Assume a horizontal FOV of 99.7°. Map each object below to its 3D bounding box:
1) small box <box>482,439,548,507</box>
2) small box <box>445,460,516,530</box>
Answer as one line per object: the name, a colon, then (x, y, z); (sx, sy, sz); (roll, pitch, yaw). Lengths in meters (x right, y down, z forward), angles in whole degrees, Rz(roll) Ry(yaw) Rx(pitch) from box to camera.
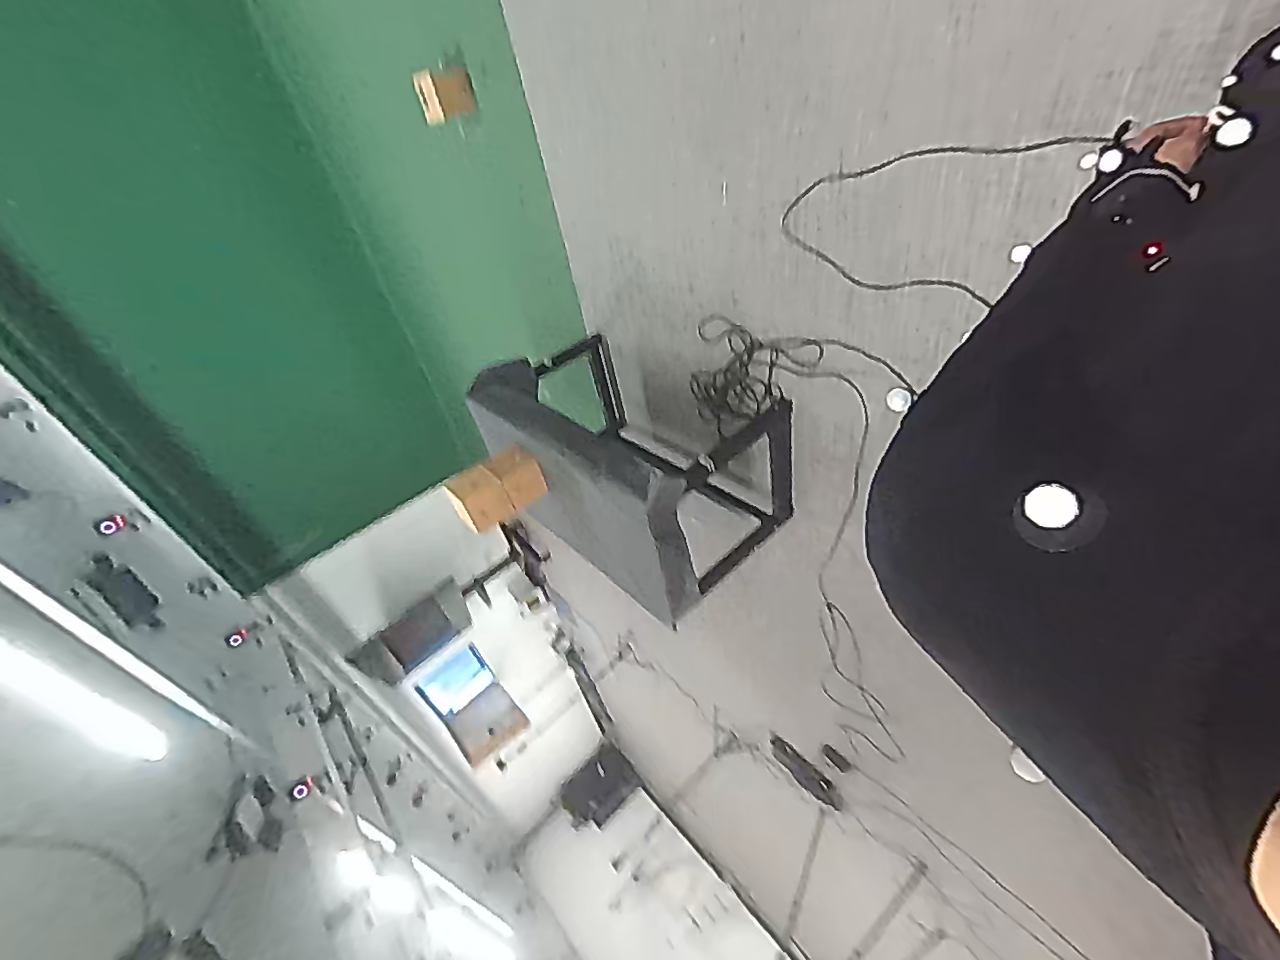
small box: (-0.491, -0.030, 2.149); (0.168, 0.176, 0.179); (31, 146, 39)
small box: (-0.608, 0.052, 2.073); (0.168, 0.176, 0.179); (30, 147, 40)
